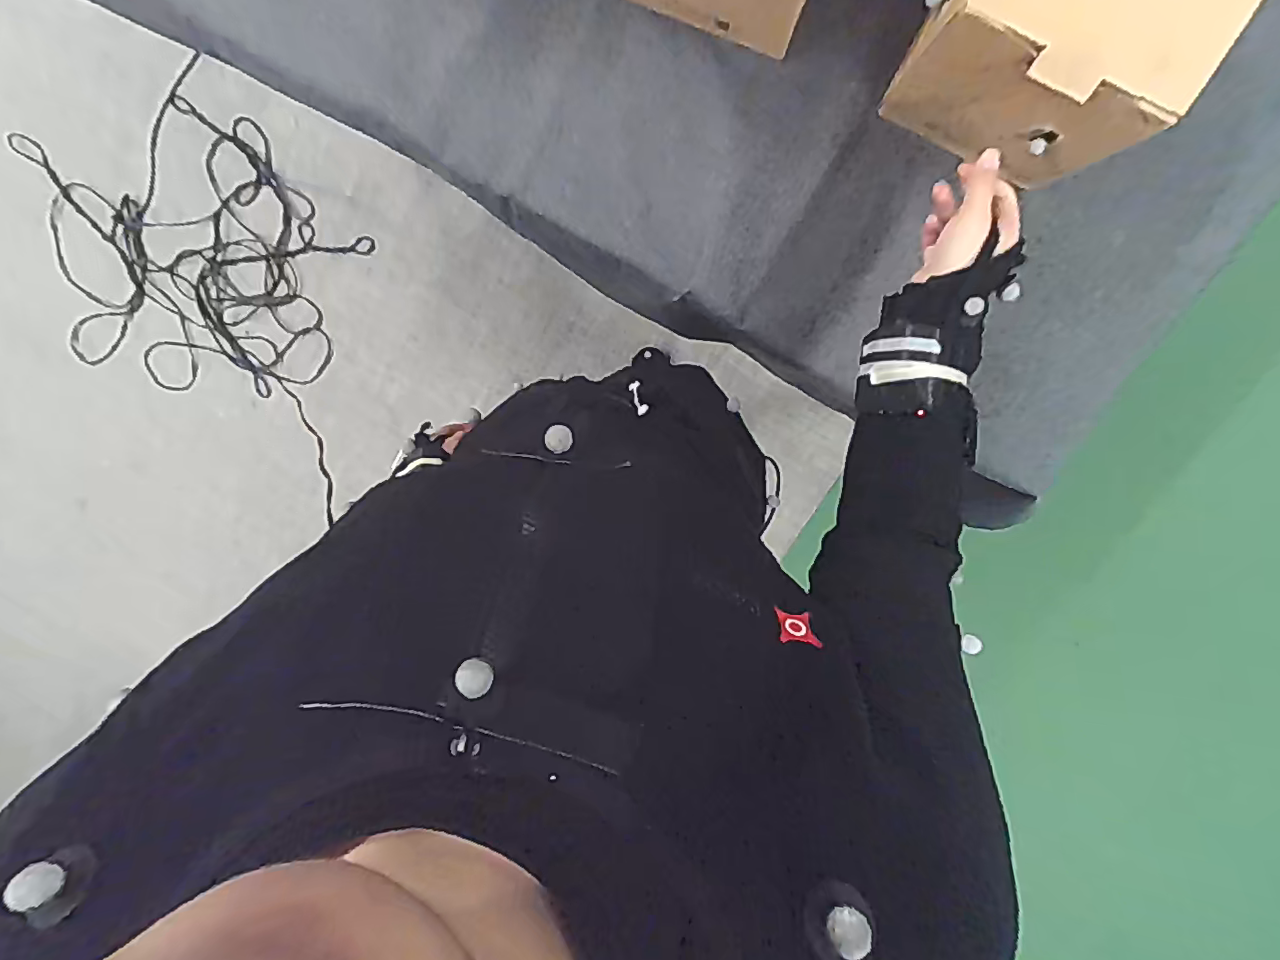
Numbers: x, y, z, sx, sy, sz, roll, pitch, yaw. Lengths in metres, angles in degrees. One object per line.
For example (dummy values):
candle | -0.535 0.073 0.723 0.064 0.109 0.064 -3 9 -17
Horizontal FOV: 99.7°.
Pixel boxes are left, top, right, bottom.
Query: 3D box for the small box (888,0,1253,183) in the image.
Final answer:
small box | 0.320 -0.362 0.411 0.168 0.176 0.179 25 104 -3
